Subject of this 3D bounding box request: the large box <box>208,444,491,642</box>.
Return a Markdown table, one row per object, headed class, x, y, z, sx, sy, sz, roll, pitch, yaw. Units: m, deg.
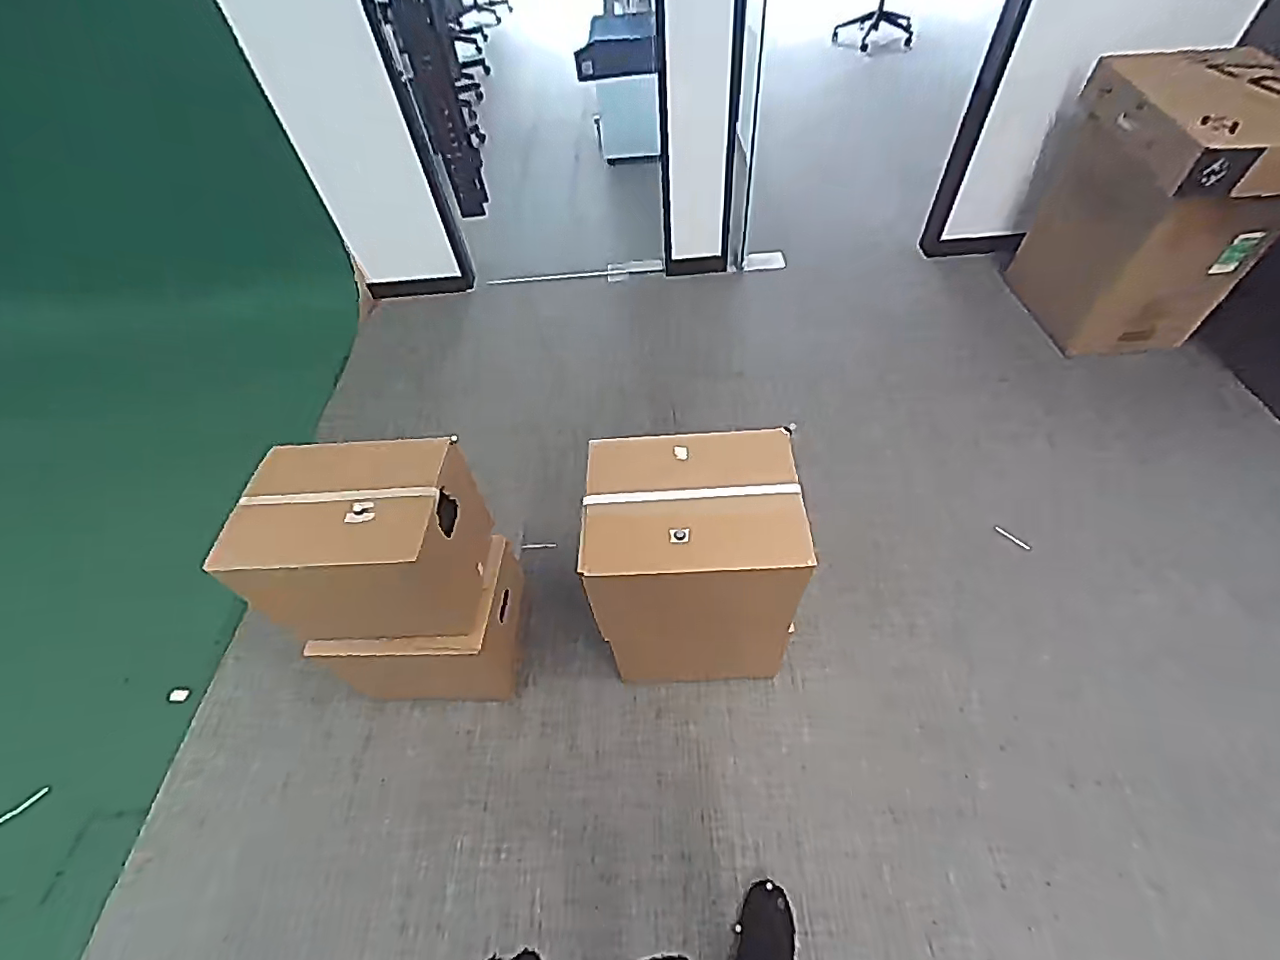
| class | x | y | z | sx | sy | sz | roll | pitch | yaw |
| --- | --- | --- | --- | --- | --- | --- | --- | --- | --- |
| large box | -0.585 | 0.143 | 1.185 | 0.408 | 0.320 | 0.320 | -2 | 48 | 3 |
